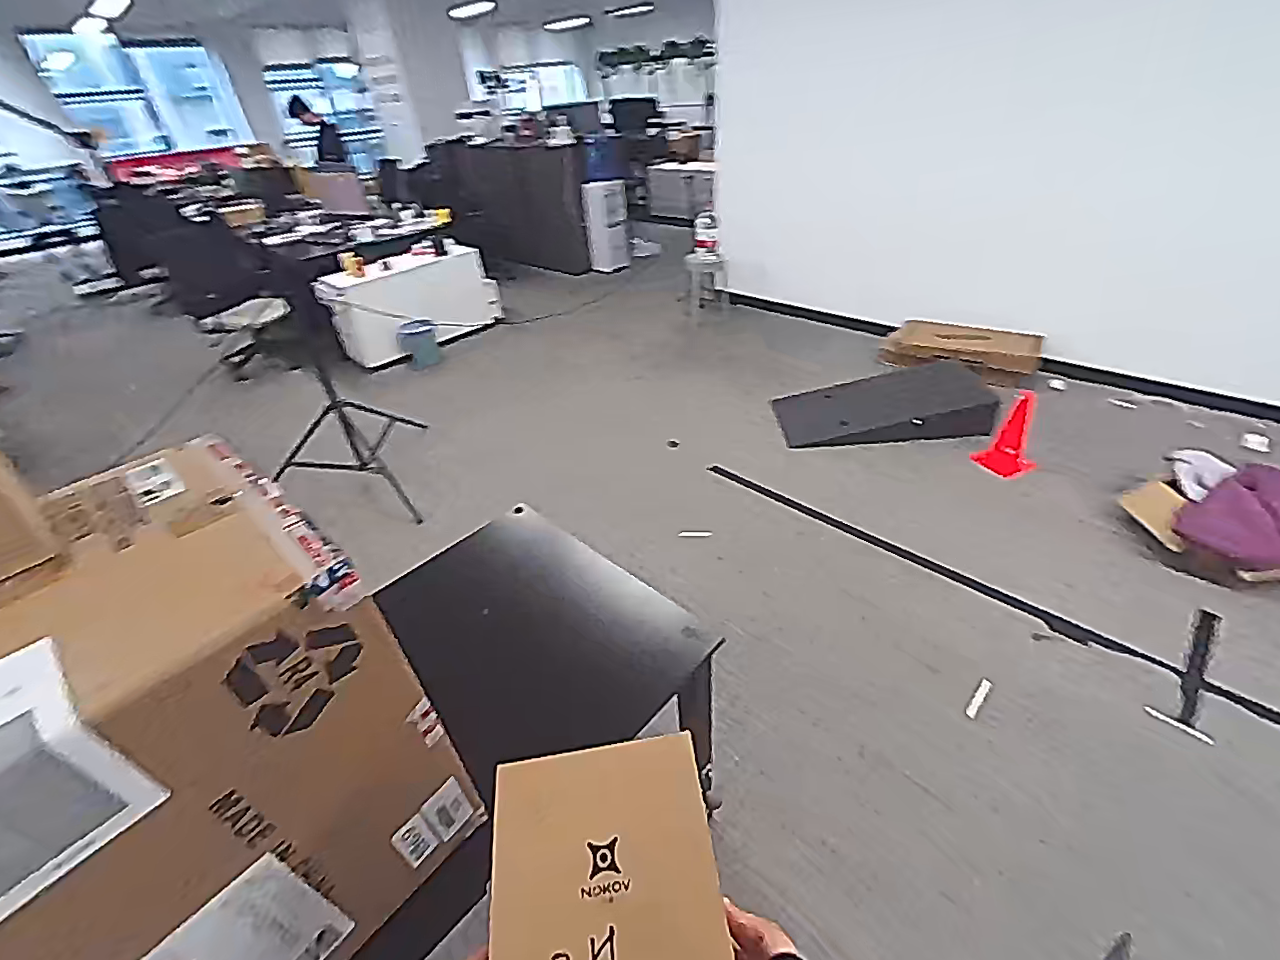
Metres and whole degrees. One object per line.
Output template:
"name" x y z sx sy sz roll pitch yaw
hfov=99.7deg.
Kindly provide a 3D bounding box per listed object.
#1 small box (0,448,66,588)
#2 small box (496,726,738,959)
"small box" -0.637 0.016 0.442 0.179 0.176 0.168 20 42 34
"small box" -0.016 0.339 0.461 0.168 0.176 0.179 -9 45 -1
